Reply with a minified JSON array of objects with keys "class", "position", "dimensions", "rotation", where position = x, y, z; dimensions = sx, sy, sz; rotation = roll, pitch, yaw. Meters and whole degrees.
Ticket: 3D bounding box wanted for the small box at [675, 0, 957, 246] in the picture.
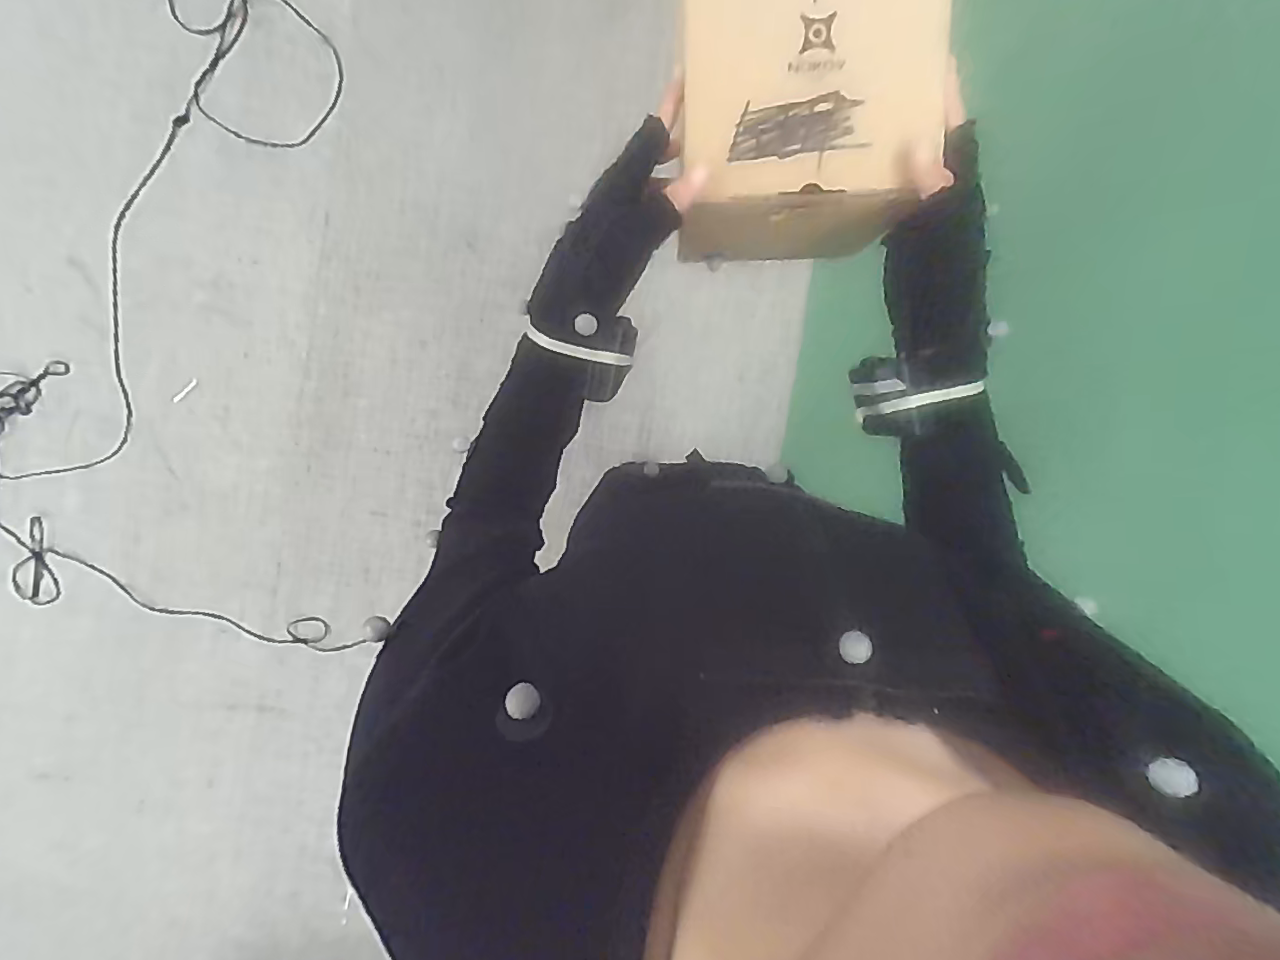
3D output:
[{"class":"small box","position":[0.113,-0.286,0.410],"dimensions":[0.168,0.176,0.179],"rotation":[0,98,2]}]
